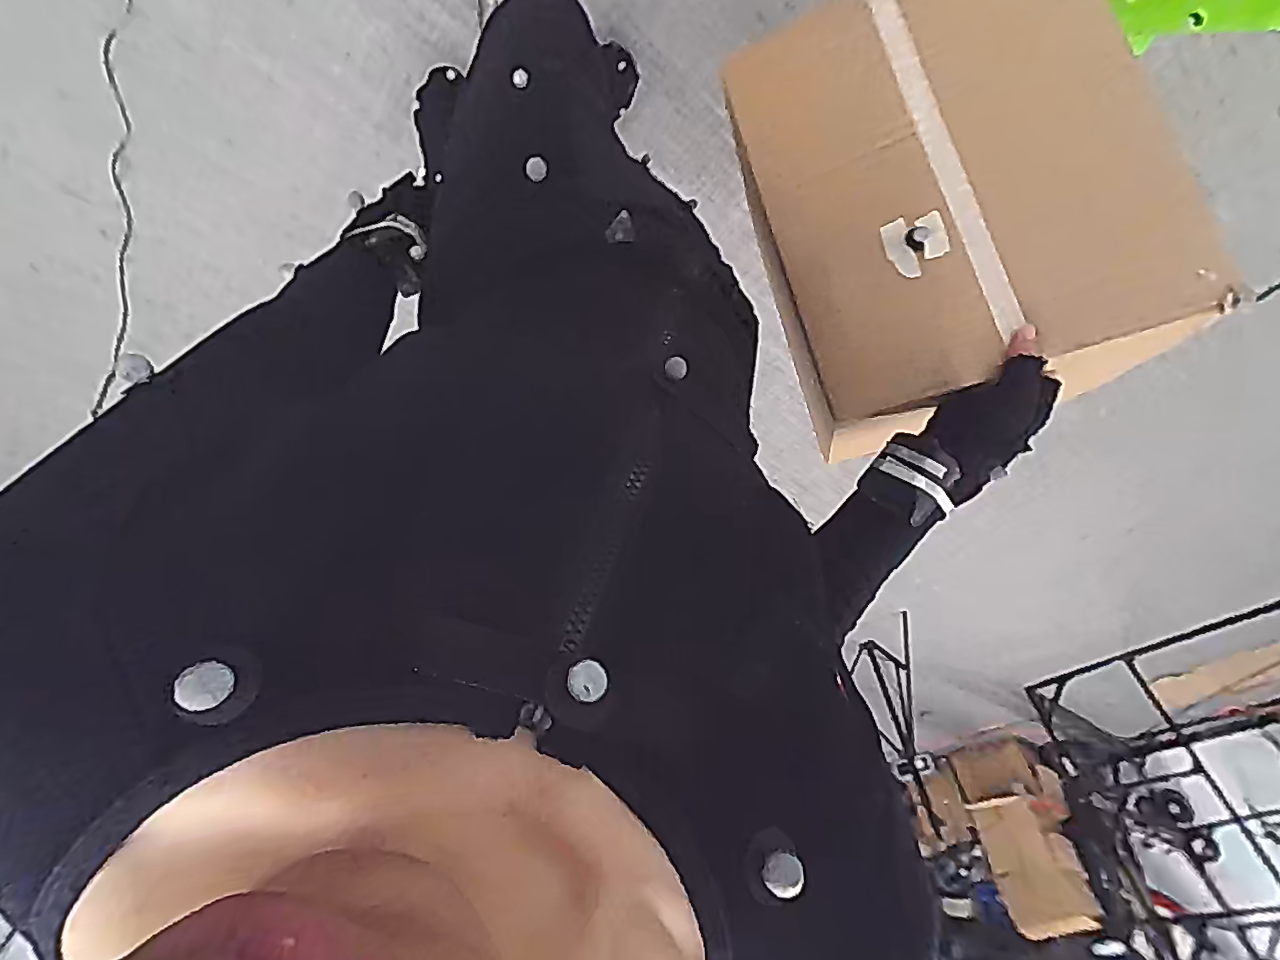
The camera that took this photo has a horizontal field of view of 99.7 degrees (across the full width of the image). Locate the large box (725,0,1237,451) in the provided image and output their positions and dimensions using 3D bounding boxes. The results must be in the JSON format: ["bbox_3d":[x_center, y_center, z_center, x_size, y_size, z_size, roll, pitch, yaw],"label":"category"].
[{"bbox_3d":[0.318,-0.280,0.630,0.320,0.408,0.320,-17,172,16],"label":"large box"}]
